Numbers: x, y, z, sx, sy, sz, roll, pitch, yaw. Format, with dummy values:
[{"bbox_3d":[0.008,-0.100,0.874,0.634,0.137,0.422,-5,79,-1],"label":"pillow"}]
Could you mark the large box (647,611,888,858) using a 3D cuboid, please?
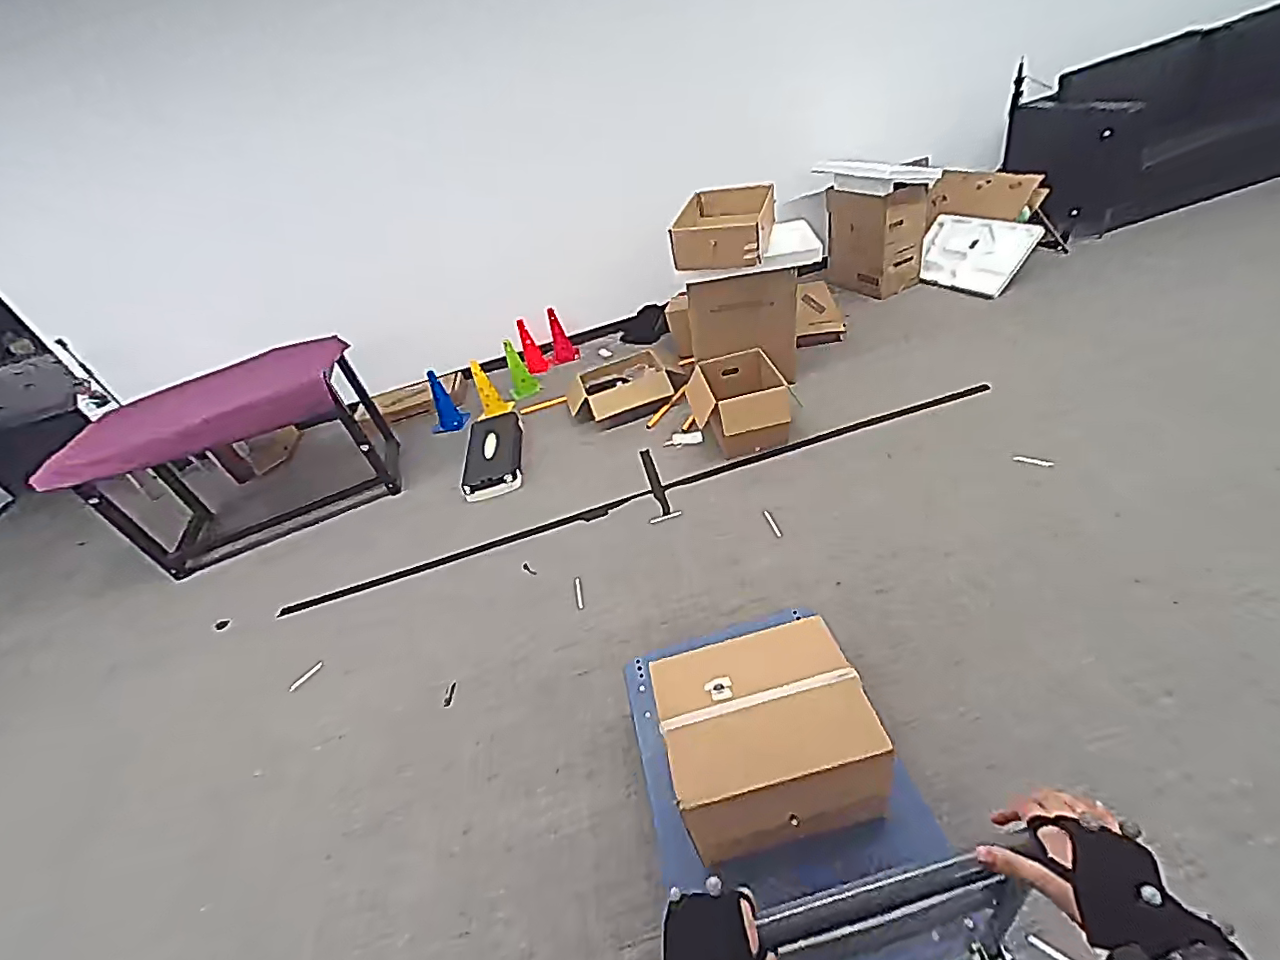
[{"bbox_3d":[0.266,0.549,1.173,0.408,0.320,0.320,-17,37,1],"label":"large box"}]
